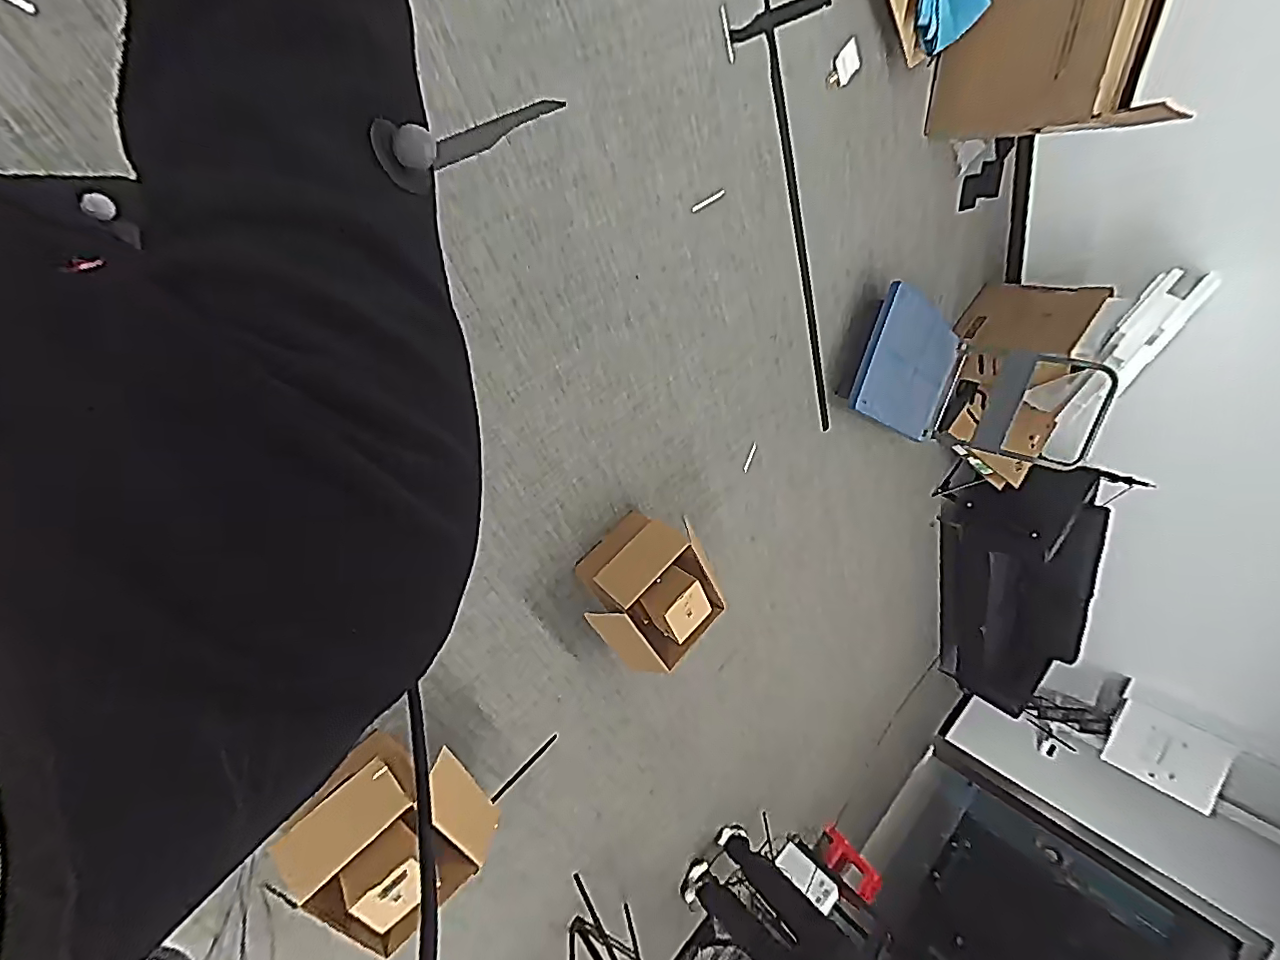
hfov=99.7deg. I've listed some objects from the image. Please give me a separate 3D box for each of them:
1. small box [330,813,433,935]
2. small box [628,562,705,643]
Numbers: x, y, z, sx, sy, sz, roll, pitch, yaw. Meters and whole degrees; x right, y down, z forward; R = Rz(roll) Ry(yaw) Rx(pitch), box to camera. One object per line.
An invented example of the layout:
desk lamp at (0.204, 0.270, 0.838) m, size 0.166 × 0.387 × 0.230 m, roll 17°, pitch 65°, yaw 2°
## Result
small box at (-0.675, 1.014, 1.408) m, size 0.168 × 0.176 × 0.179 m, roll -32°, pitch 128°, yaw -24°
small box at (0.090, 0.410, 1.837) m, size 0.168 × 0.176 × 0.179 m, roll -42°, pitch 129°, yaw -22°
